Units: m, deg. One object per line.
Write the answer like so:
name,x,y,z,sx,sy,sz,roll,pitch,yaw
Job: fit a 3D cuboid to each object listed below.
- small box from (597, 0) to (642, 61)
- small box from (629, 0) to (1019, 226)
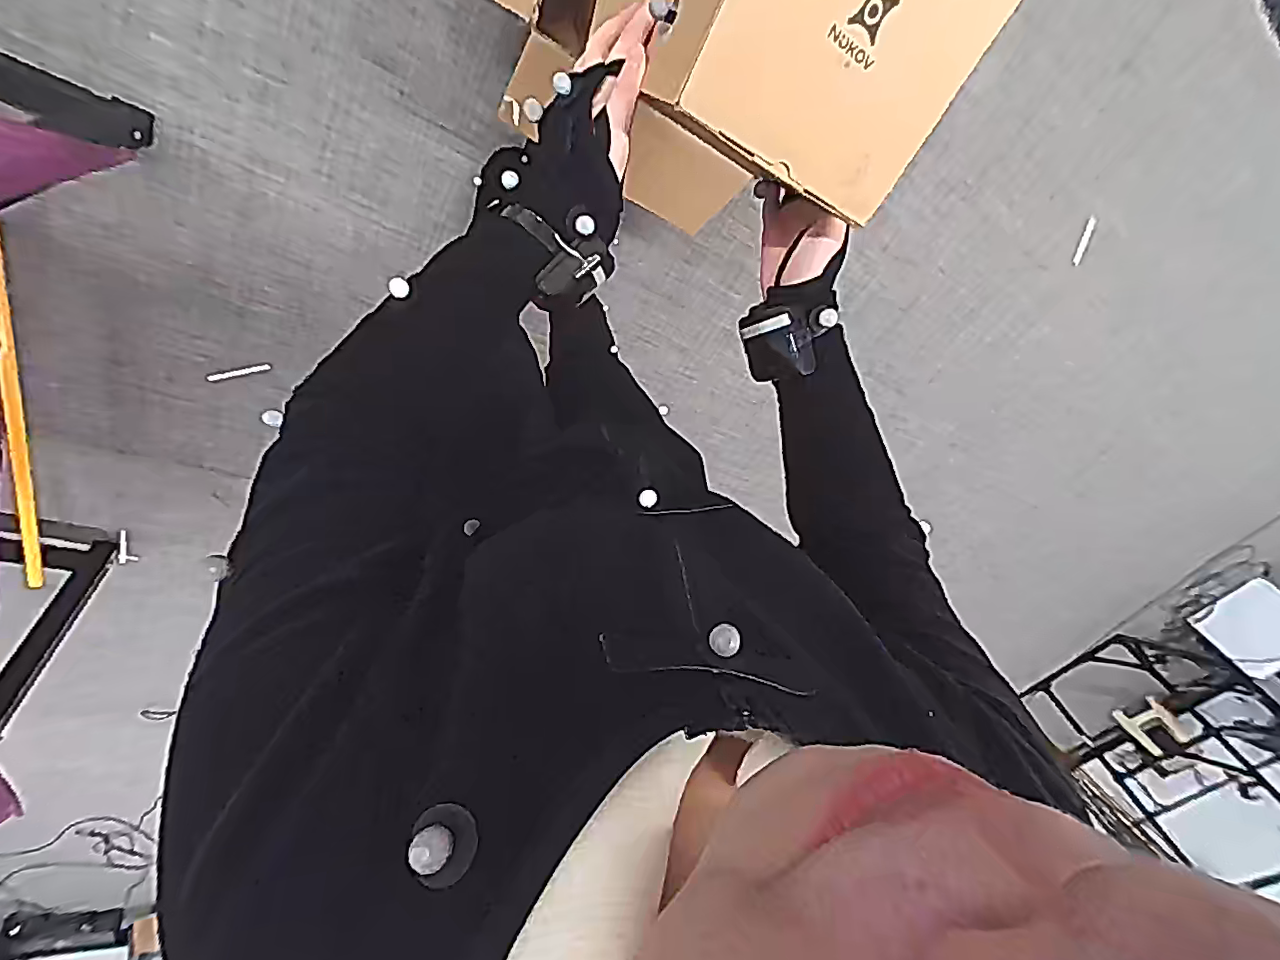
small box,0.073,-0.468,0.515,0.179,0.176,0.168,8,132,-27
small box,0.107,-0.312,0.362,0.168,0.176,0.179,14,123,-29
